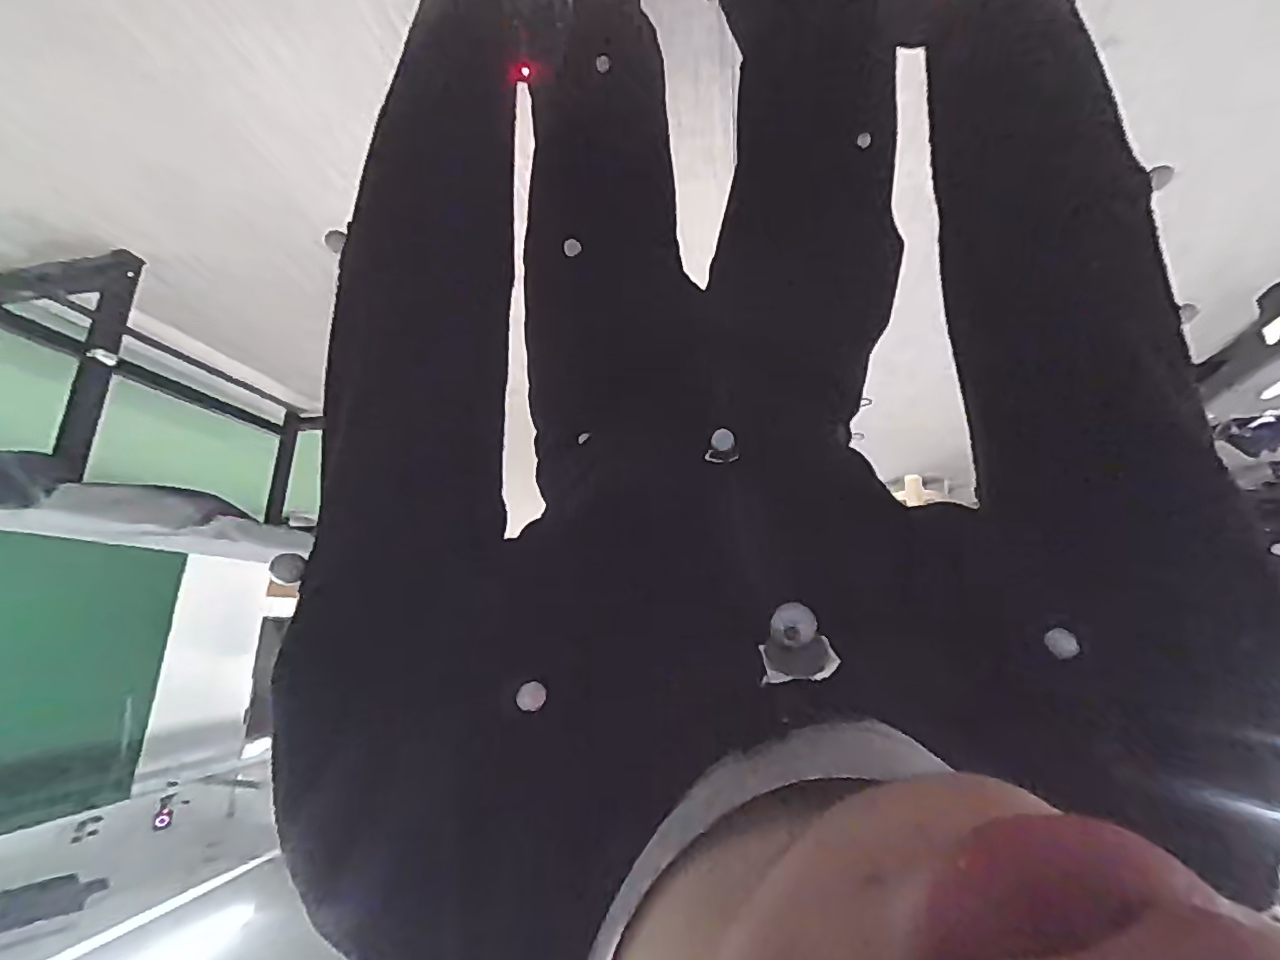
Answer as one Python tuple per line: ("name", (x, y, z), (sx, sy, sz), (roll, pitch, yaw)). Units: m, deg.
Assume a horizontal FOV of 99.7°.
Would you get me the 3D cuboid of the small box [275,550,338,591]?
("small box", (-1.479, 0.402, 2.408), (0.179, 0.176, 0.168), (-3, 164, 16))
